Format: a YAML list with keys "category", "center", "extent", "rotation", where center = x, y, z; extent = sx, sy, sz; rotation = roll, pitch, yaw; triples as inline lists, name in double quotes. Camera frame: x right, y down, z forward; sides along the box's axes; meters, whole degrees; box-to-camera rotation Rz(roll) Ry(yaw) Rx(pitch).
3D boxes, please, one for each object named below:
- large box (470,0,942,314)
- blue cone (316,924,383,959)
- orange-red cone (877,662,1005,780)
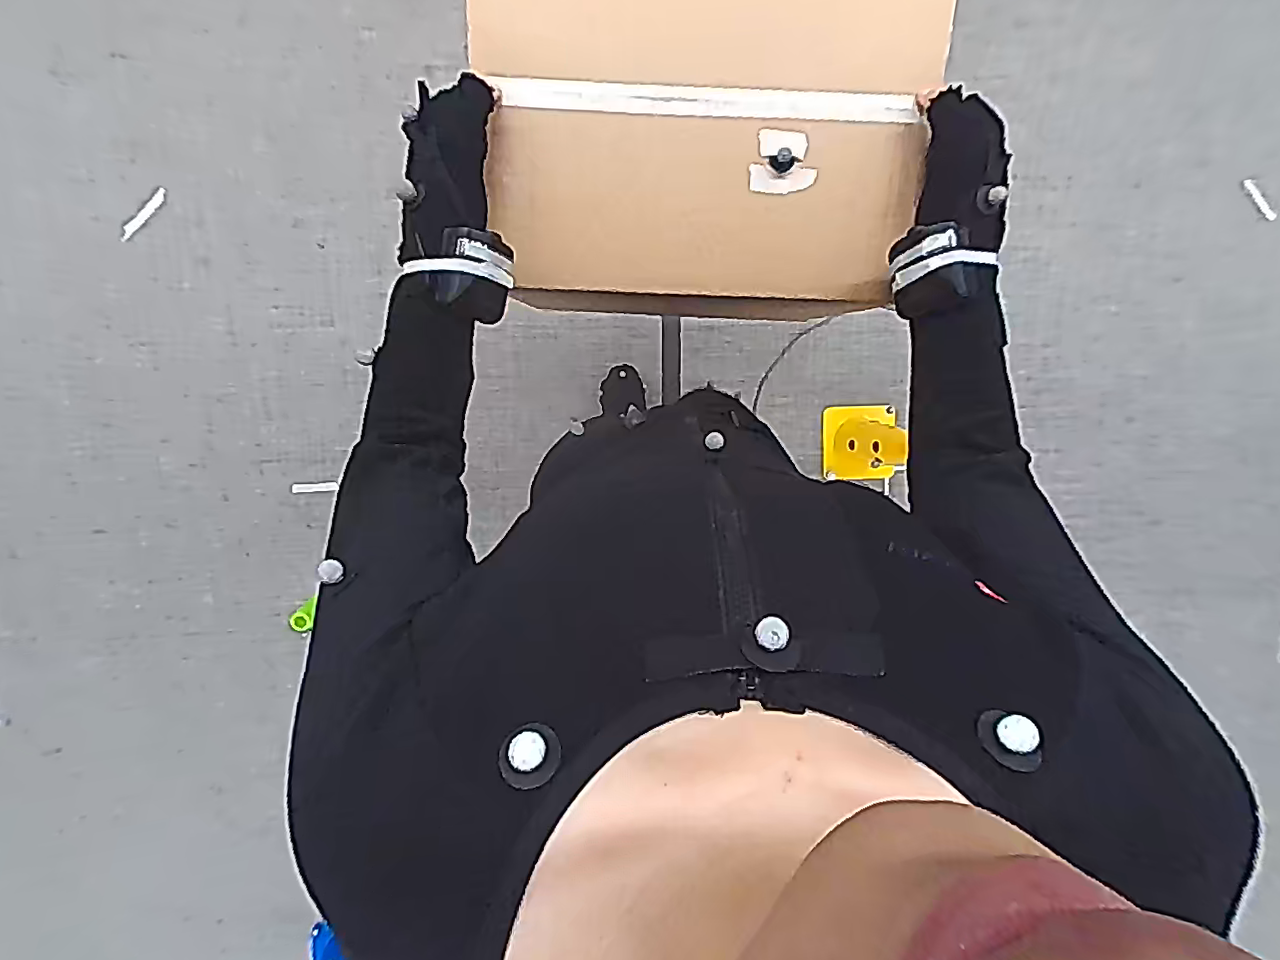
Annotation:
- category: "large box"
  center: [0.049, -0.364, 0.614]
  extent: [0.408, 0.320, 0.320]
  rotation: [2, 104, -2]
- category: "blue cone"
  center: [-0.837, 1.388, 1.402]
  extent: [0.192, 0.380, 0.193]
  rotation: [2, 95, -2]
- category: "orange-red cone"
  center: [0.787, 0.637, 1.380]
  extent: [0.198, 0.360, 0.199]
  rotation: [-4, 95, -3]
